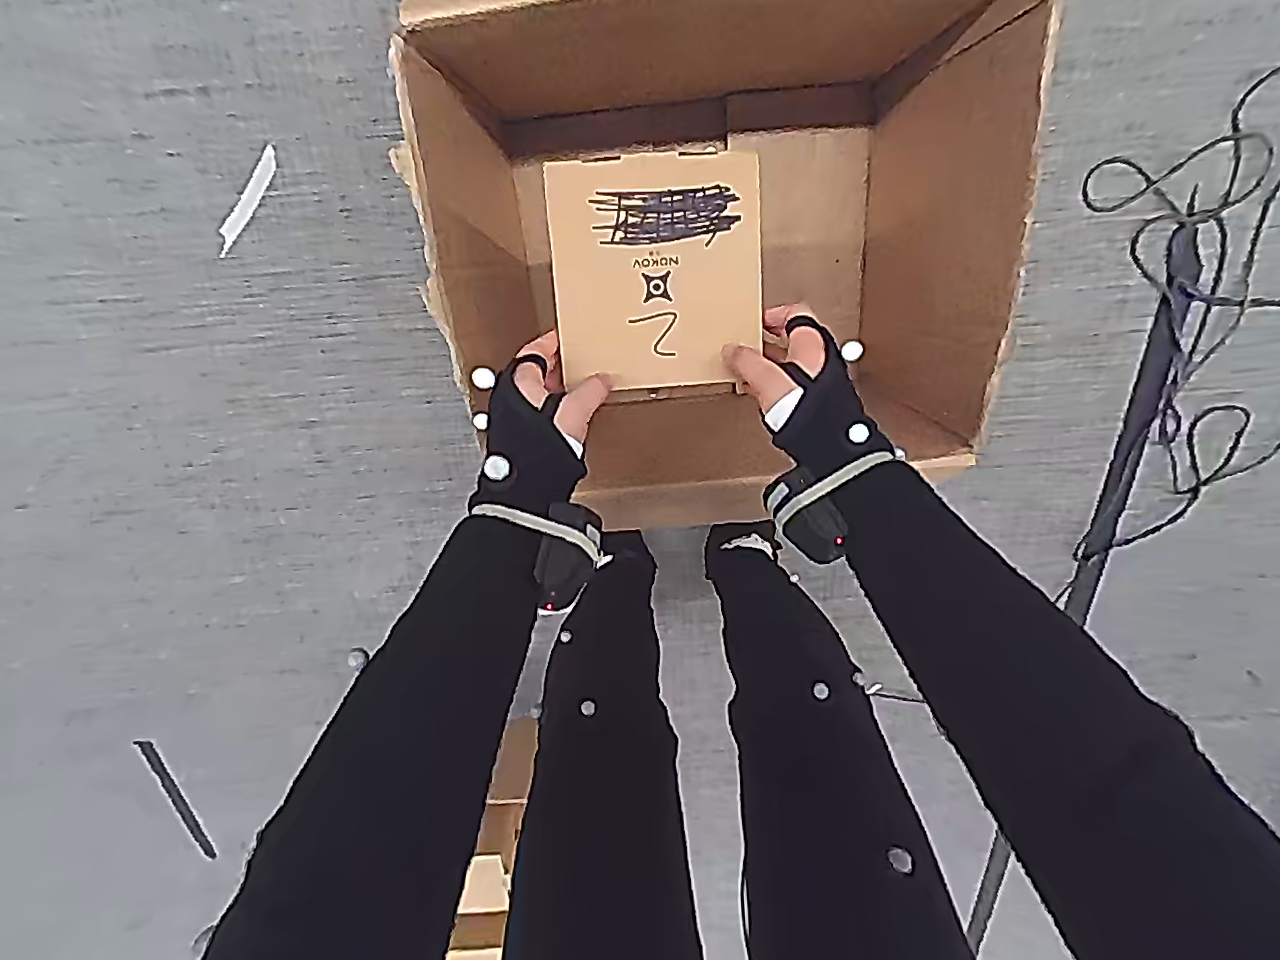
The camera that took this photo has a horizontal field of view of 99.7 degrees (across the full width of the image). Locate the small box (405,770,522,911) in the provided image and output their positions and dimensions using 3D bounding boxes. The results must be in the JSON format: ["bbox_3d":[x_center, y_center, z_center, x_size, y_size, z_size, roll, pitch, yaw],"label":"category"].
[{"bbox_3d":[-0.325,0.684,1.040,0.179,0.176,0.168,-1,113,-2],"label":"small box"}]
